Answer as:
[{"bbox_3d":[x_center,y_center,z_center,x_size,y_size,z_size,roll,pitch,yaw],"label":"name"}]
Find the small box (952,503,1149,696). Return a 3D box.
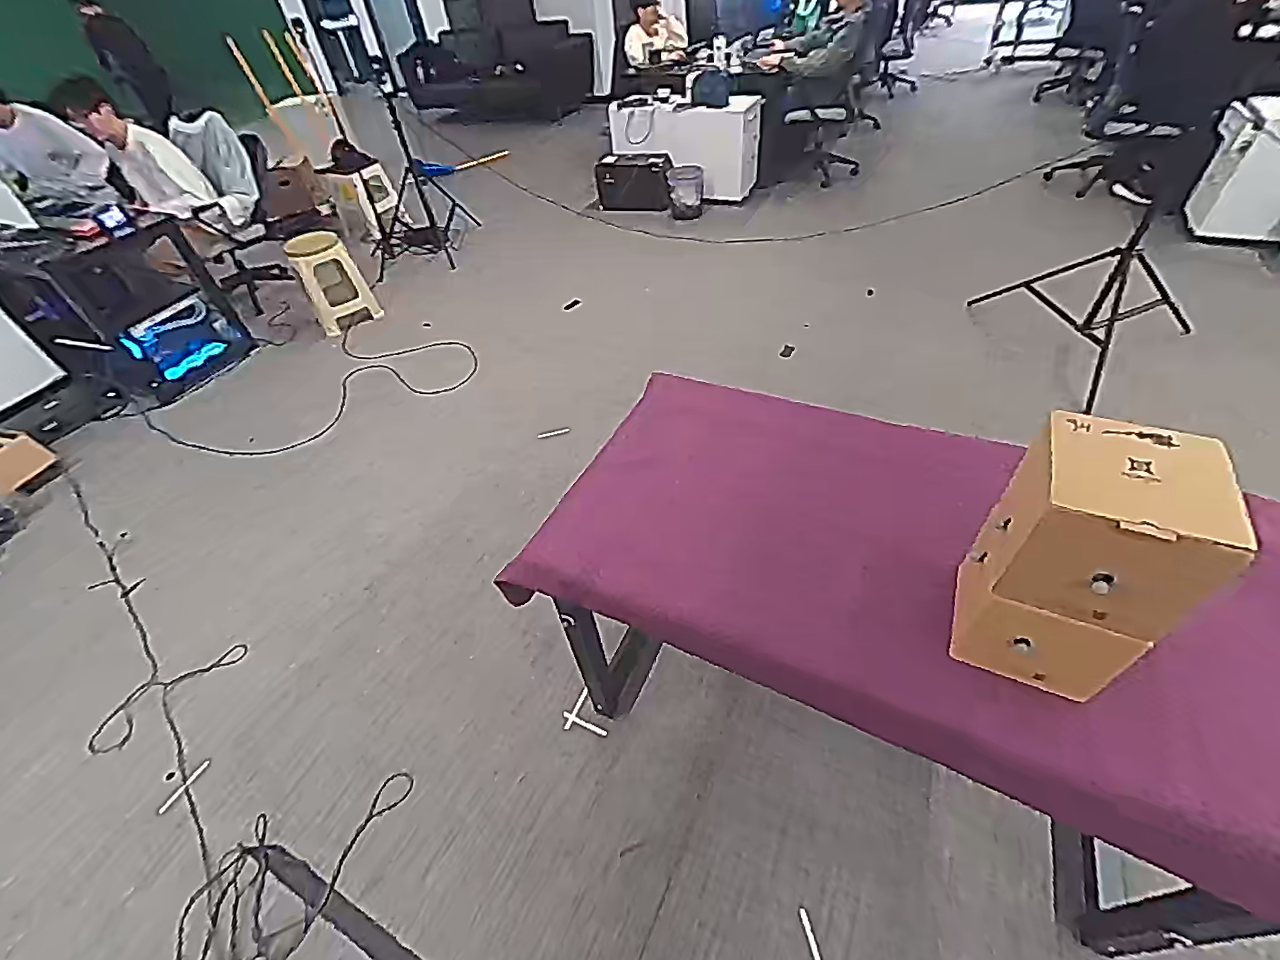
[{"bbox_3d":[0.552,0.166,0.750,0.168,0.176,0.179,16,49,22],"label":"small box"}]

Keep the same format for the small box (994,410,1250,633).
[{"bbox_3d":[0.540,0.049,0.636,0.168,0.176,0.179,17,50,22],"label":"small box"}]
